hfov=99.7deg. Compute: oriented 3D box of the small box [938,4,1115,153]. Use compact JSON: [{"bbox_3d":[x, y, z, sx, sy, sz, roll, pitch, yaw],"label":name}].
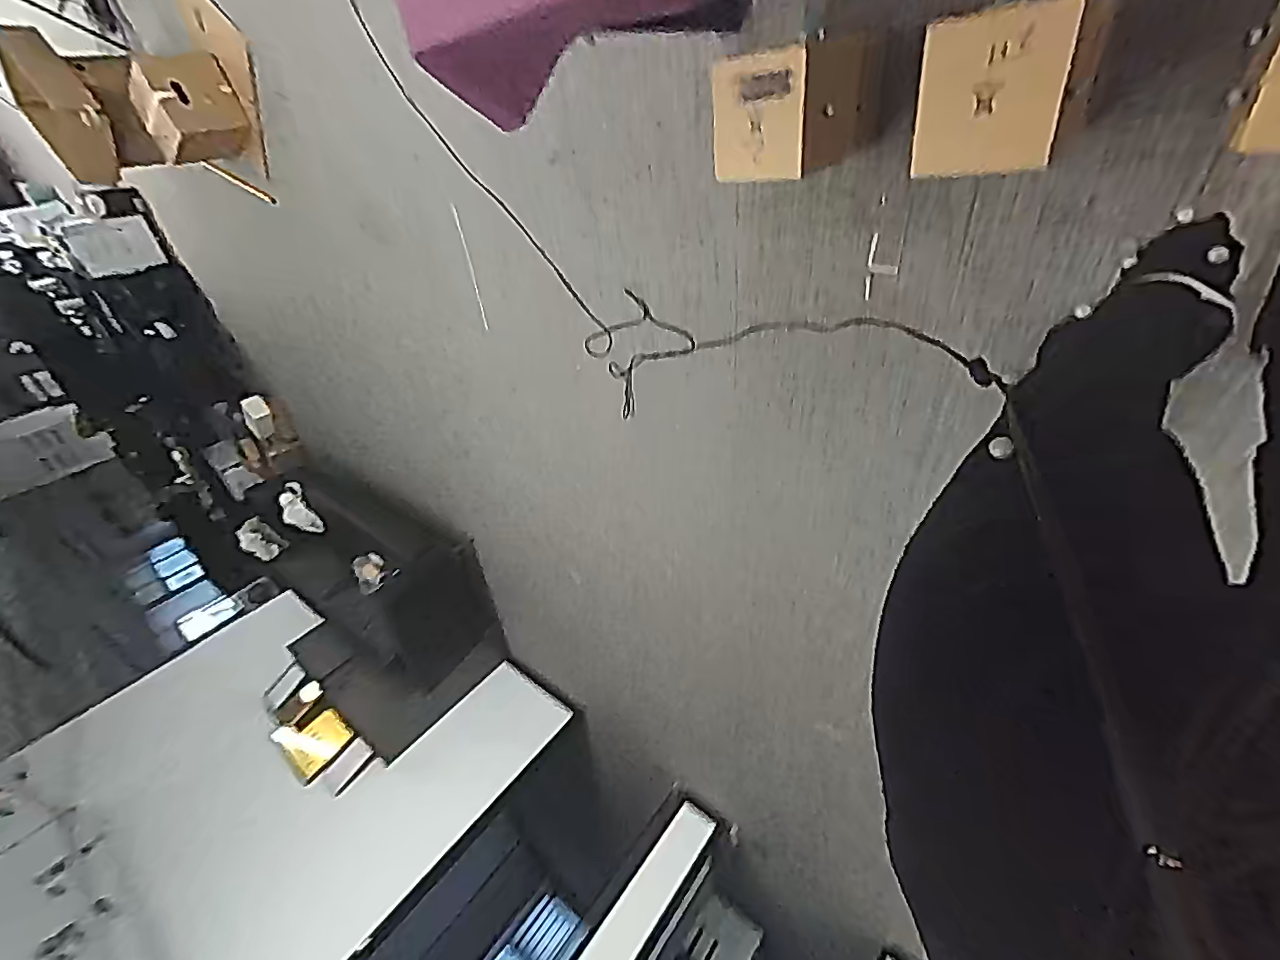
[{"bbox_3d":[0.602,-0.620,0.848,0.179,0.176,0.168,21,133,35],"label":"small box"}]
